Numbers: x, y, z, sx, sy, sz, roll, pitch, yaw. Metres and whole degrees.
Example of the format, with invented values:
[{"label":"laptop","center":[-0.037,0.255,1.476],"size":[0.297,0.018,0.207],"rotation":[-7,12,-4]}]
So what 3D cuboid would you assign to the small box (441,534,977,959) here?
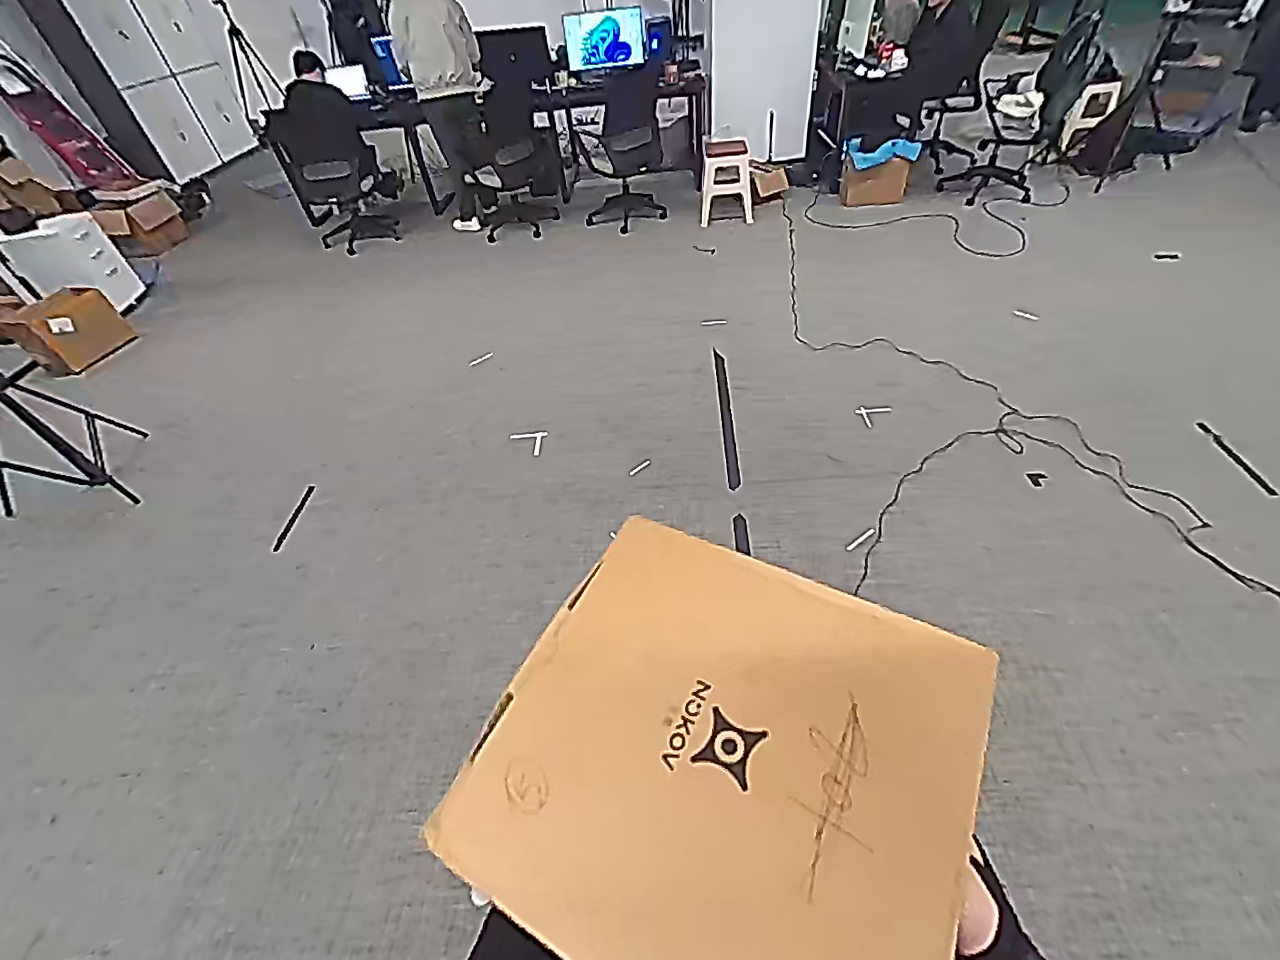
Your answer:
[{"label":"small box","center":[0.041,0.161,0.282],"size":[0.179,0.176,0.168],"rotation":[18,55,22]}]
